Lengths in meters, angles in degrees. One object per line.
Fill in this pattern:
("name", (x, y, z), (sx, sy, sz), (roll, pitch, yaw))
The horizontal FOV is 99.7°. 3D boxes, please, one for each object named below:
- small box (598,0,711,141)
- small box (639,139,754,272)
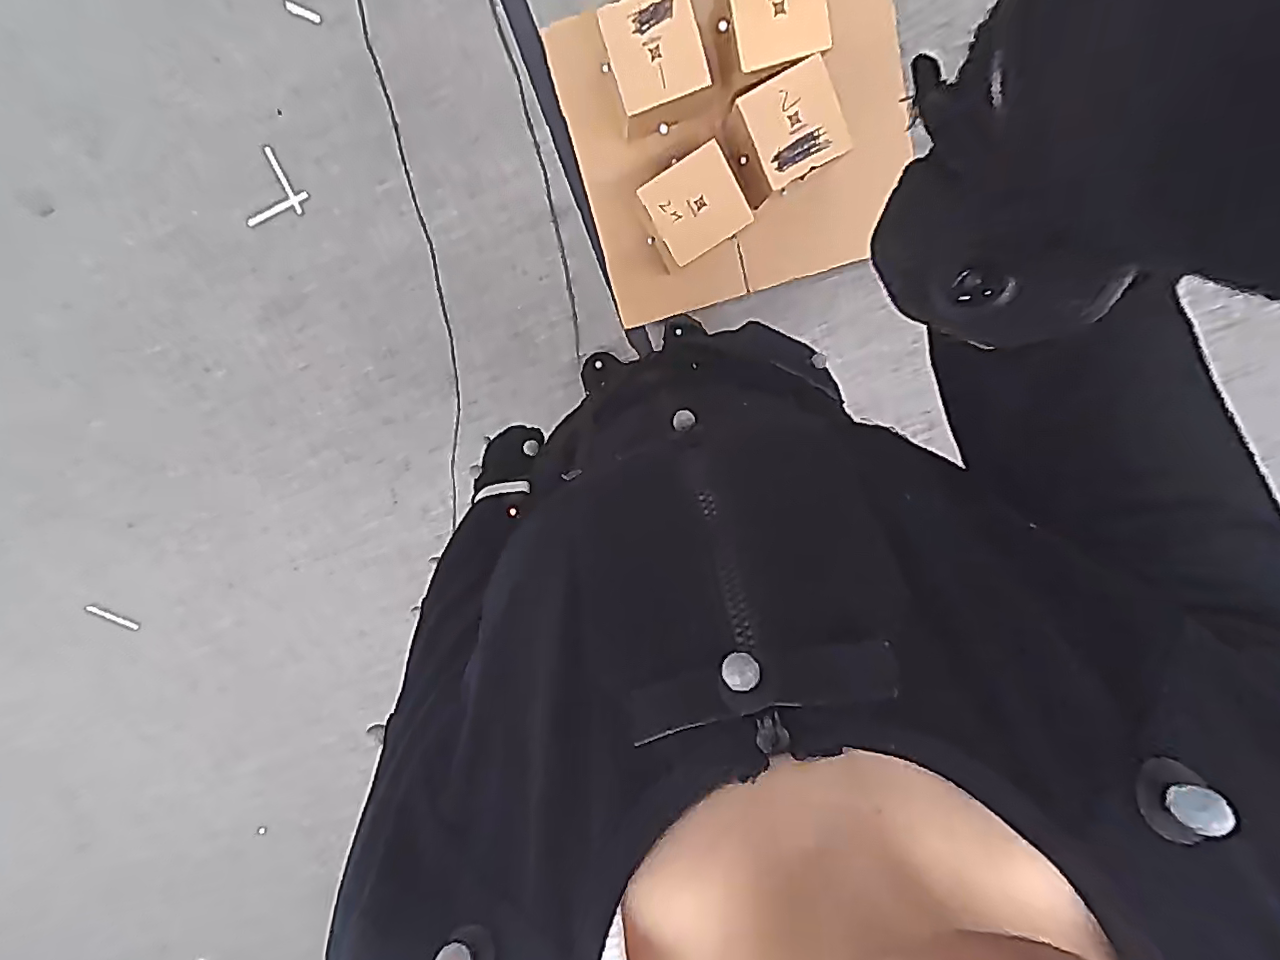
("small box", (0.025, -0.798, 1.045), (0.168, 0.176, 0.179), (-18, 107, 4))
("small box", (0.107, -0.554, 1.117), (0.179, 0.176, 0.168), (-30, 104, 8))
